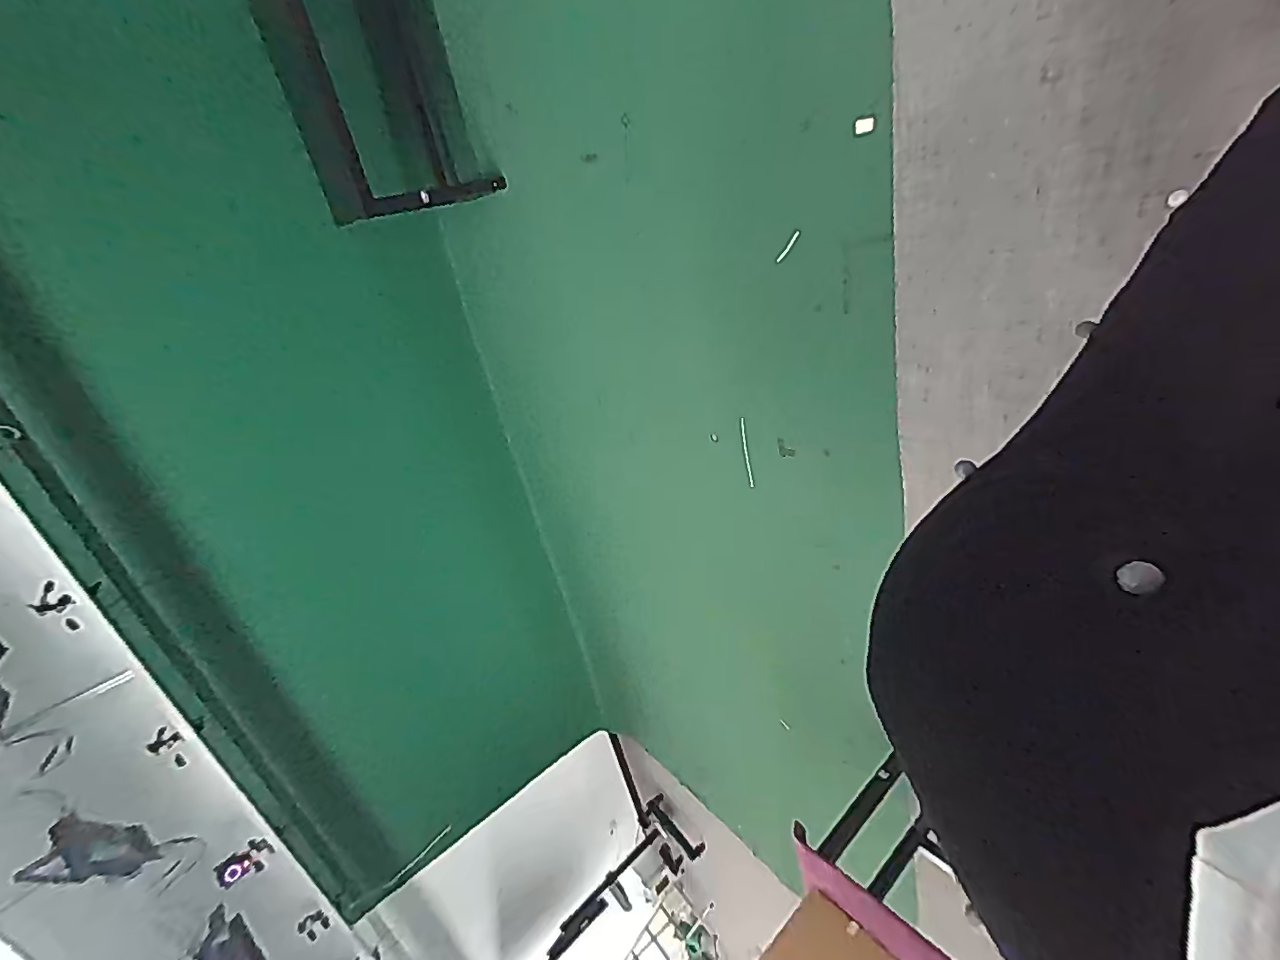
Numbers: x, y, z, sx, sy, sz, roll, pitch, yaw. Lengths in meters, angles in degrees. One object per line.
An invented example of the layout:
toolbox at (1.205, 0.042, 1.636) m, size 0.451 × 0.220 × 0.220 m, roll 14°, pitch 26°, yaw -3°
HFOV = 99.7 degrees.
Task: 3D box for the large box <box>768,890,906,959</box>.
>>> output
large box at (0.614, 1.588, 1.641) m, size 0.320 × 0.320 × 0.408 m, roll 16°, pitch 127°, yaw 49°
